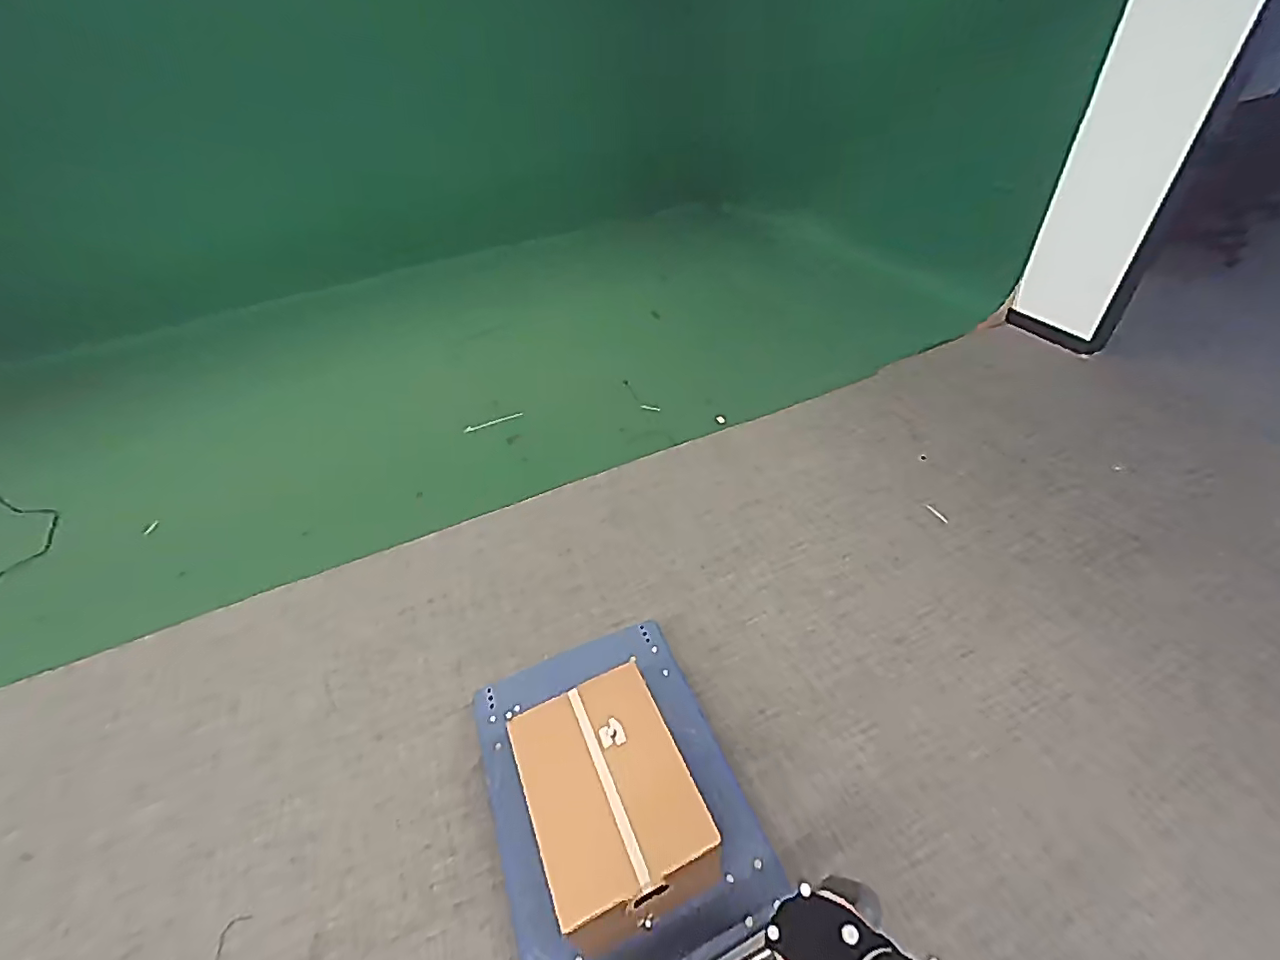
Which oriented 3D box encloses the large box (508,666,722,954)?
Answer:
[{"bbox_3d":[-0.054,0.711,1.194,0.320,0.320,0.408,-21,44,-14],"label":"large box"}]
